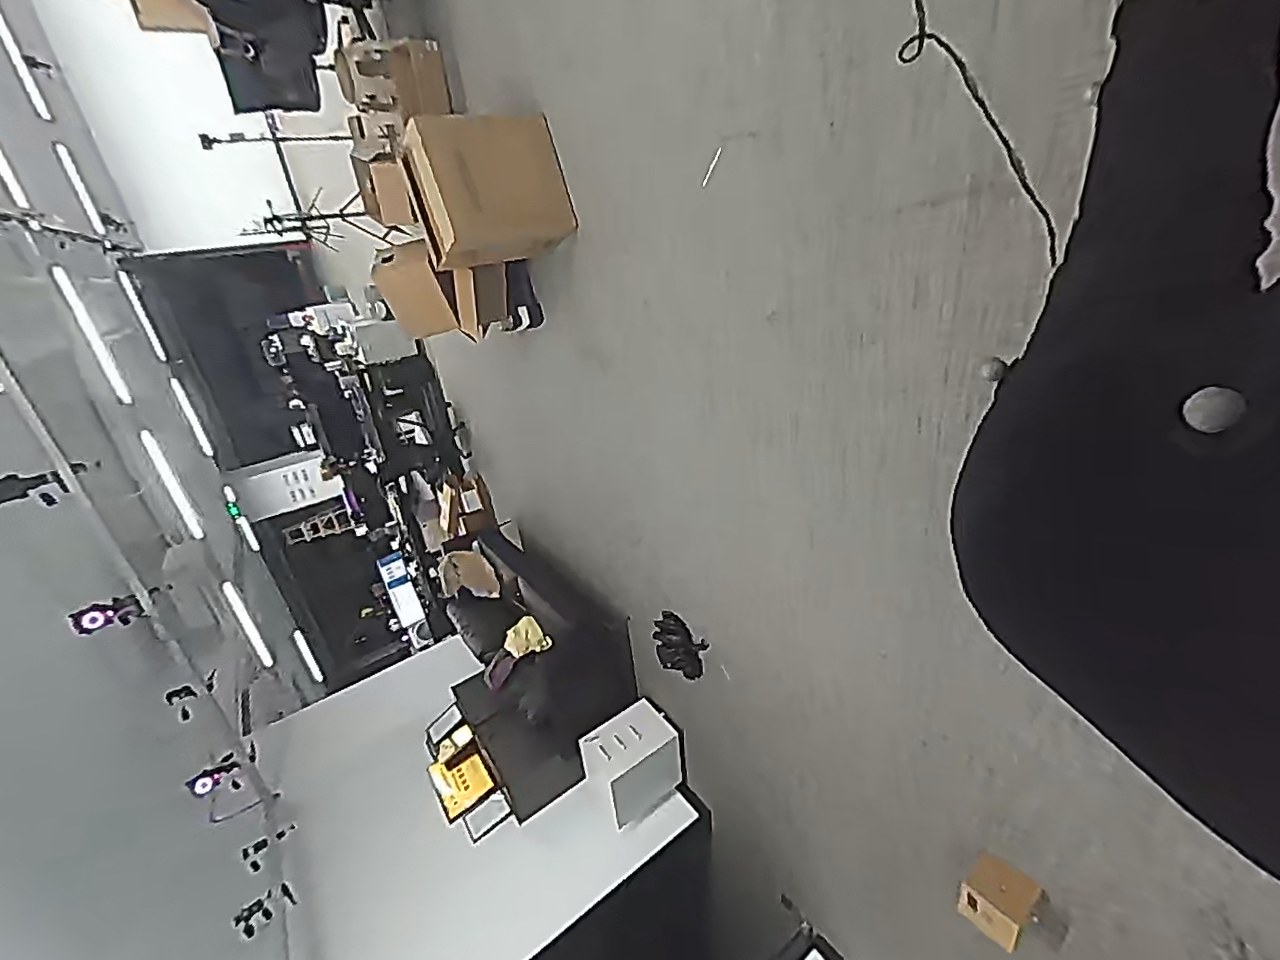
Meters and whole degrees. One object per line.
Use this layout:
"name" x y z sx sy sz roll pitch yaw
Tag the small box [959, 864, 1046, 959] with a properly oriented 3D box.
"small box" 1.199 1.425 1.793 0.179 0.176 0.168 24 129 49
